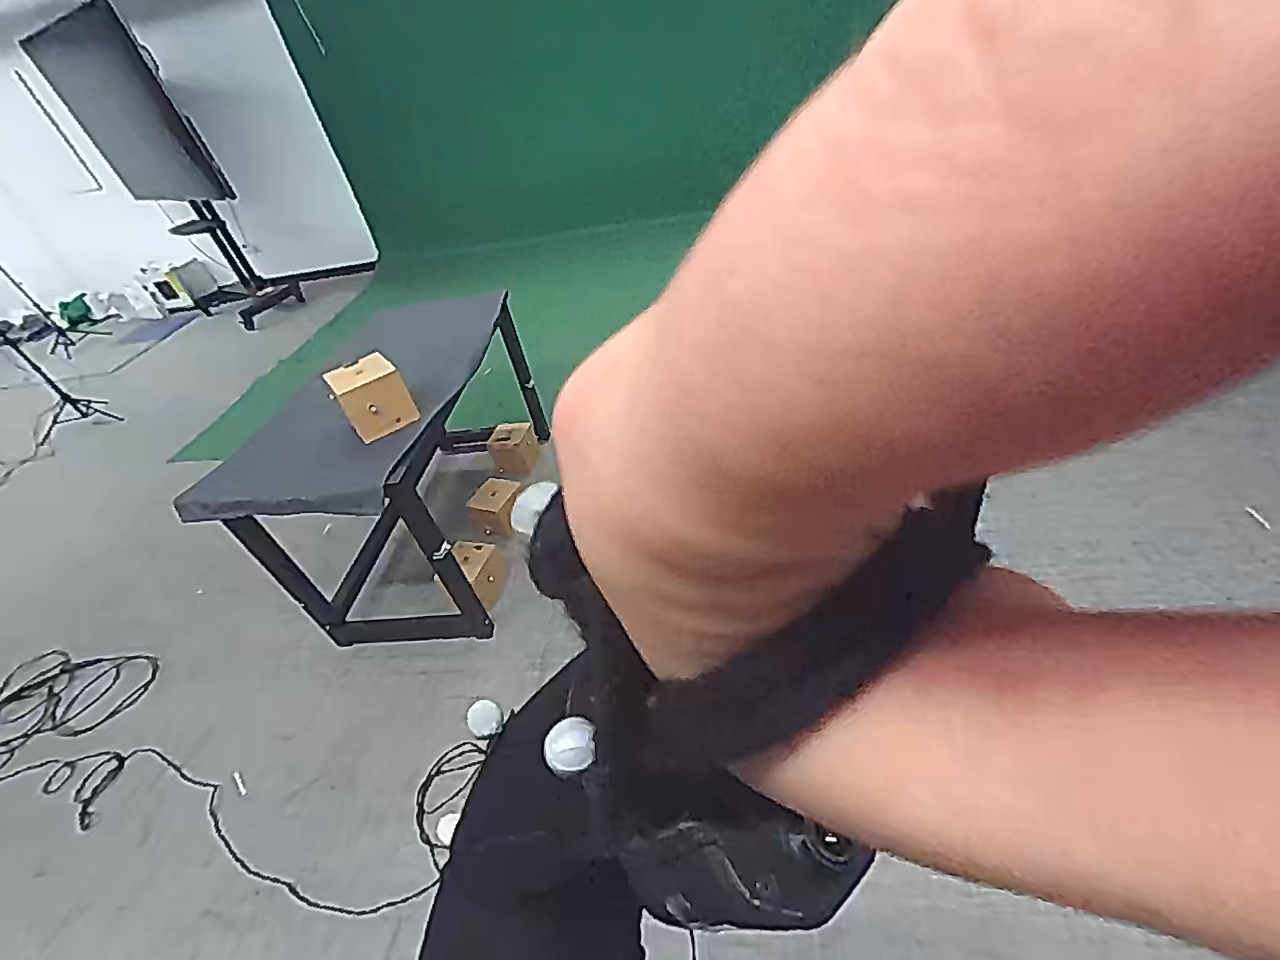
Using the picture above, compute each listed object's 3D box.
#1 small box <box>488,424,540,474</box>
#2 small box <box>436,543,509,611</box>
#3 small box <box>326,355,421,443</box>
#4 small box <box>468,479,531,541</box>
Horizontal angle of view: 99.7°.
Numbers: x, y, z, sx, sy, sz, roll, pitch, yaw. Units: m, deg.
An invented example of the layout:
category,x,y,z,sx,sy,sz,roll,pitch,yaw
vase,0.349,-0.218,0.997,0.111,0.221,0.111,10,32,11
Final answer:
category,x,y,z,sx,sy,sz,roll,pitch,yaw
small box,-0.584,-0.142,2.531,0.168,0.176,0.179,-1,41,12
small box,-0.600,0.354,1.965,0.168,0.176,0.179,3,43,17
small box,-0.759,-0.229,1.550,0.168,0.176,0.179,-33,45,-24
small box,-0.568,0.123,2.222,0.168,0.176,0.179,9,46,24
